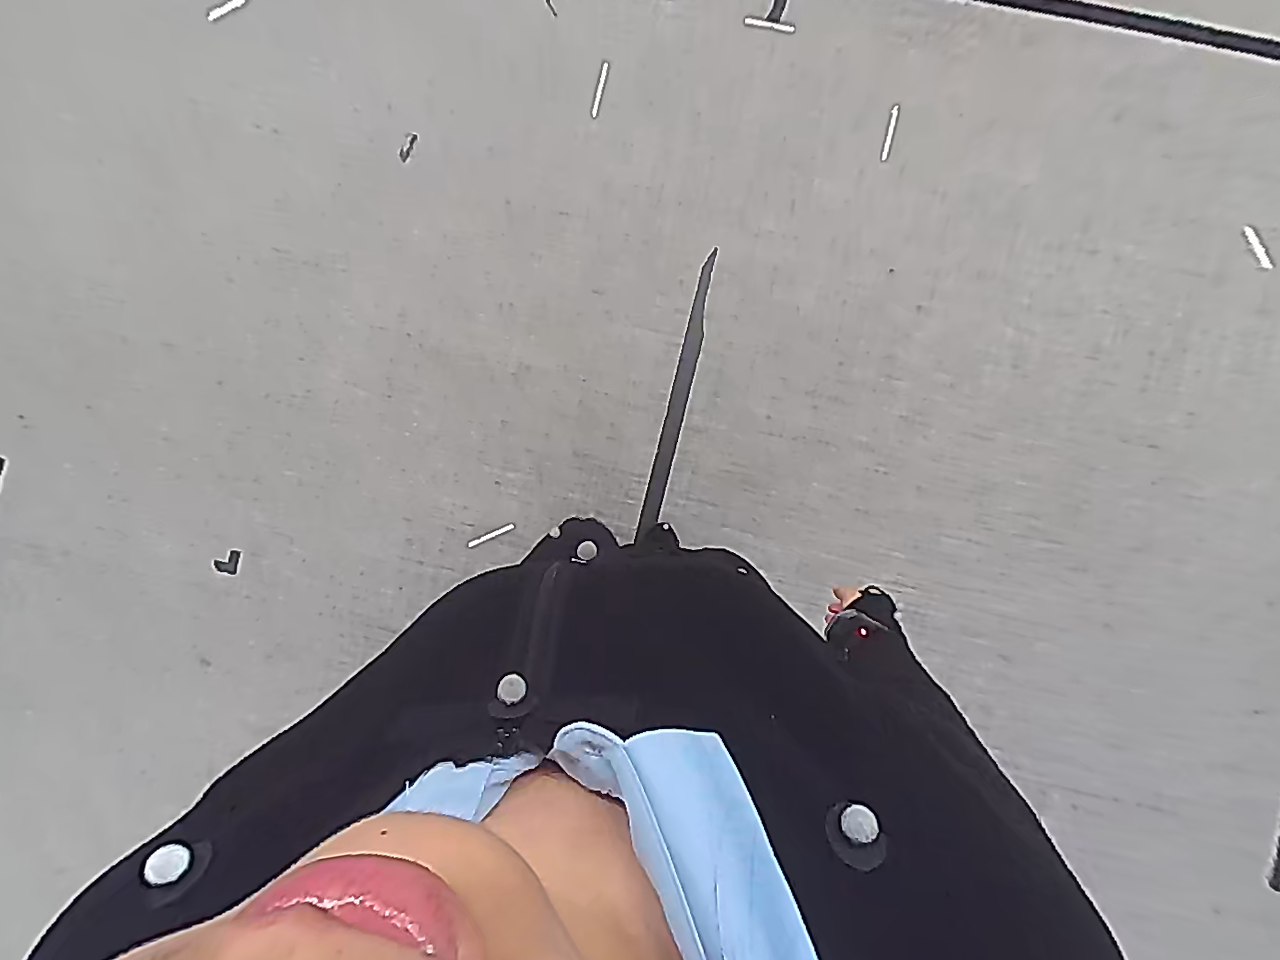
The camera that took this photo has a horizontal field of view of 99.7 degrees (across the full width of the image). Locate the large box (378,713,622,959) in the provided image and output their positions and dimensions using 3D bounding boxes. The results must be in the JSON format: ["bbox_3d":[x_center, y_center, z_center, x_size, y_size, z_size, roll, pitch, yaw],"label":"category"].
[{"bbox_3d":[-0.272,0.757,1.175,0.408,0.320,0.320,13,89,2],"label":"large box"}]
